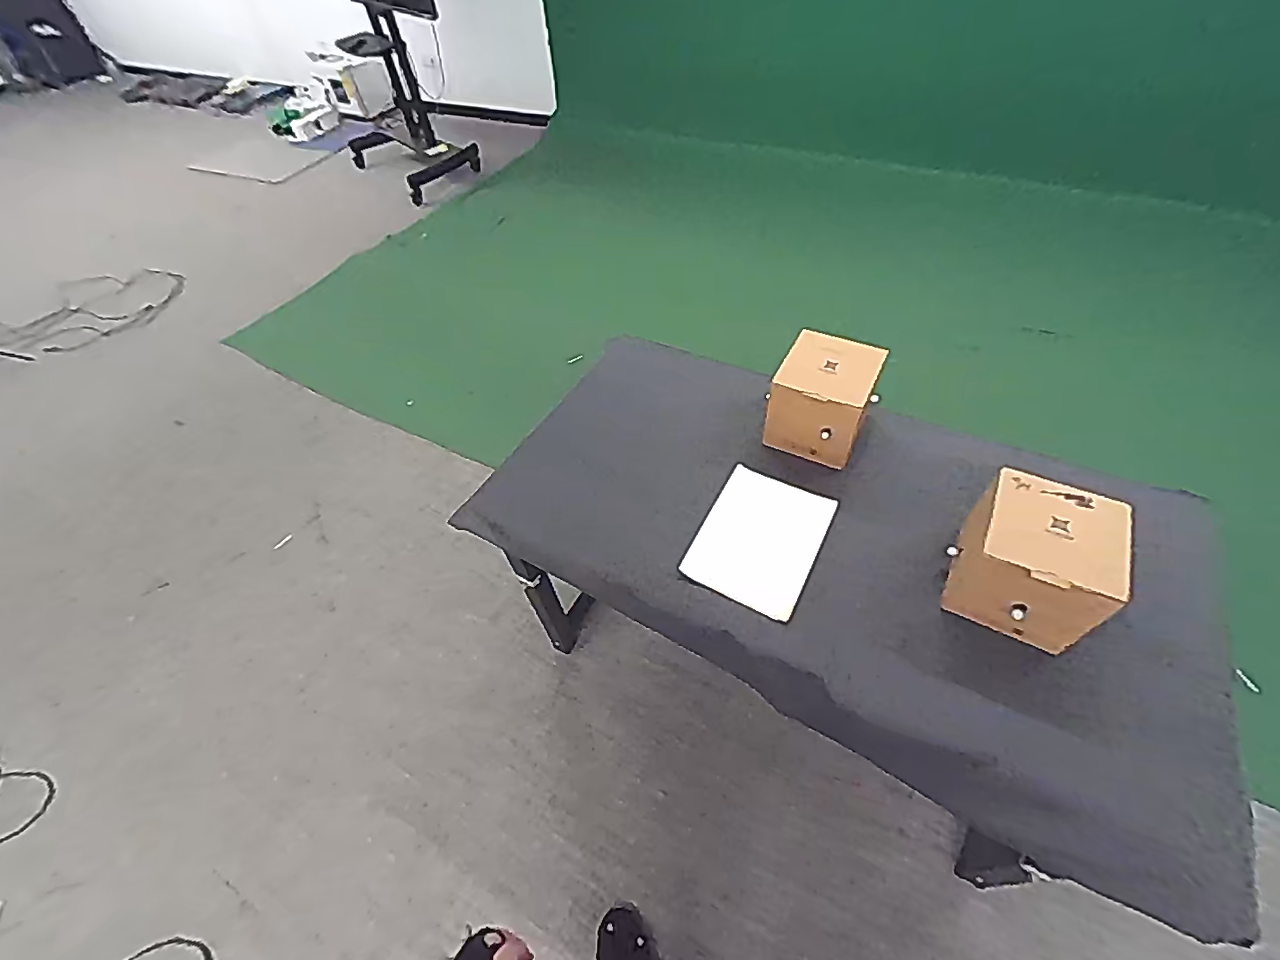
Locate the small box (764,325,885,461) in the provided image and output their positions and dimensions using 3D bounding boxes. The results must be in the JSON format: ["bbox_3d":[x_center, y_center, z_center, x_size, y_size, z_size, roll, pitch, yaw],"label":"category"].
[{"bbox_3d":[0.348,-0.165,1.043,0.168,0.176,0.179,22,56,20],"label":"small box"}]

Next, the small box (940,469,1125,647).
[{"bbox_3d":[0.577,0.121,0.813,0.168,0.176,0.179,22,58,21],"label":"small box"}]
